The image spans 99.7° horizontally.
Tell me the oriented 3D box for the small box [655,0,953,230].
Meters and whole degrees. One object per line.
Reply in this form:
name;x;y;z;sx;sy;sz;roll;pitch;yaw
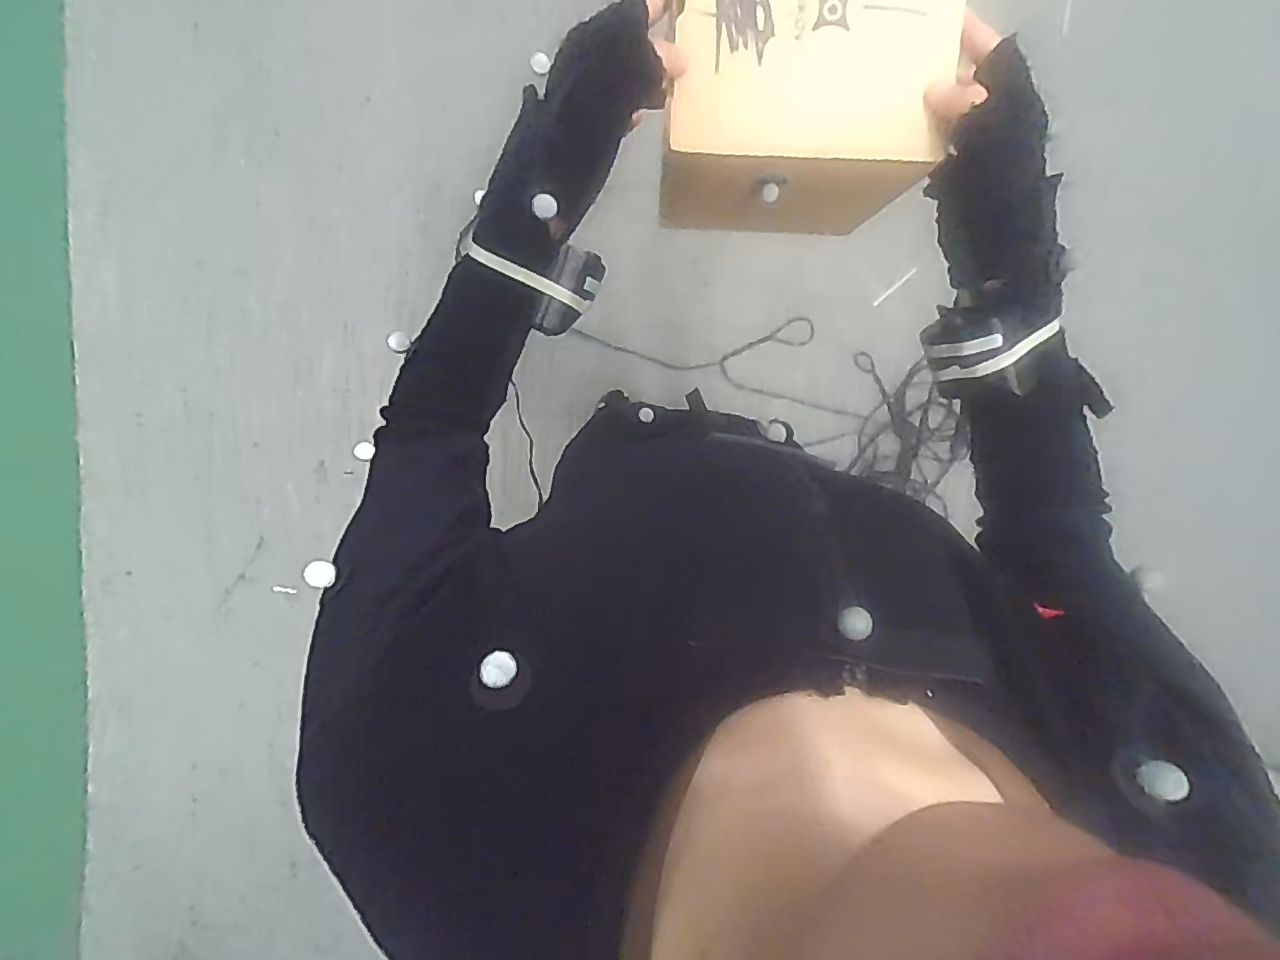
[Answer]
small box;0.101;-0.296;0.402;0.179;0.176;0.168;1;100;0
